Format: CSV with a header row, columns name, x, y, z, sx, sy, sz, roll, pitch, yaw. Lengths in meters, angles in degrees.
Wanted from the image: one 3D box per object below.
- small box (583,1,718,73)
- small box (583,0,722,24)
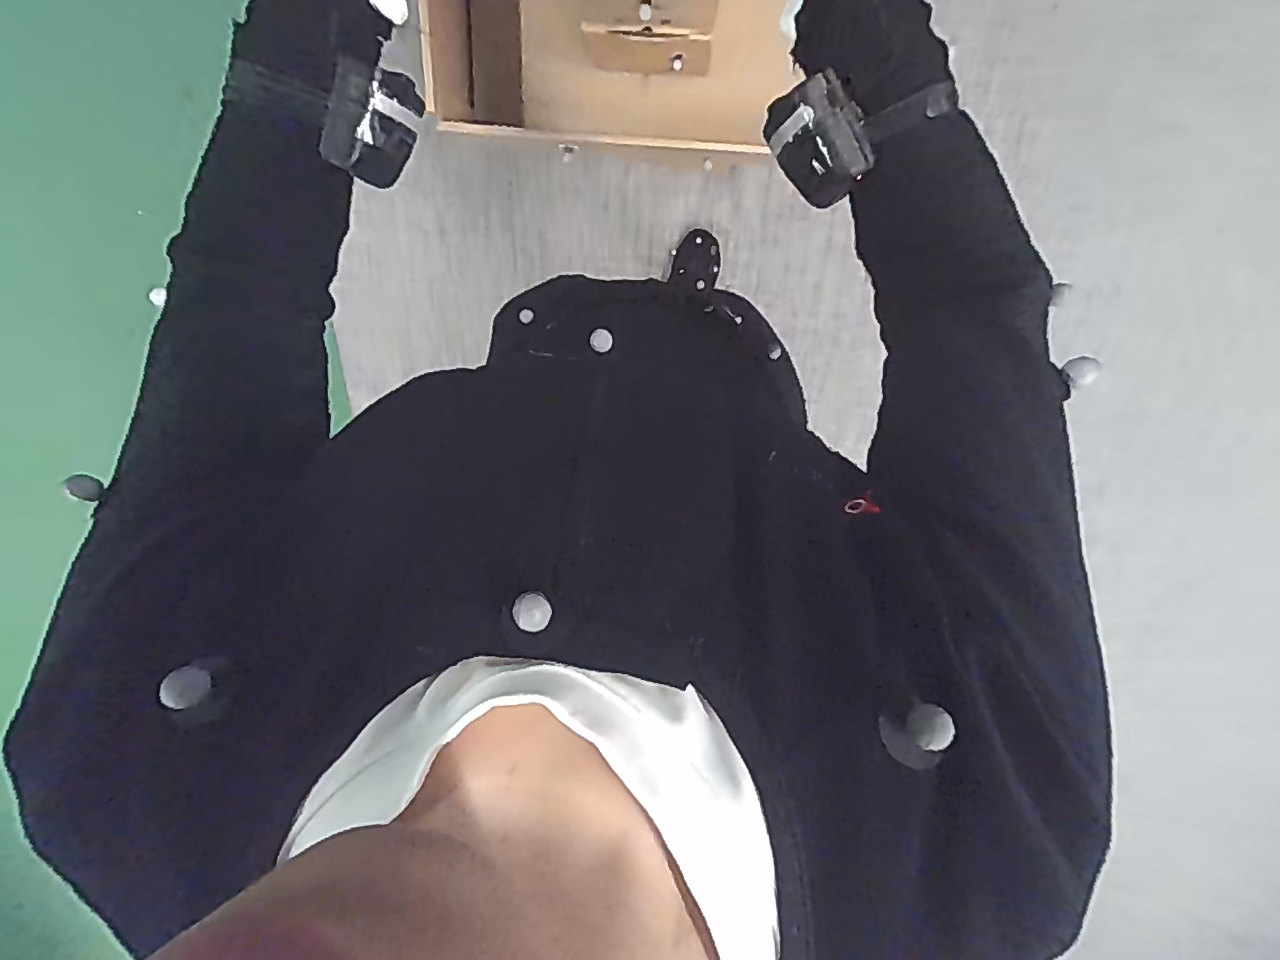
name,x,y,z,sx,sy,sz,roll,pitch,yaw
small box,0.023,-0.651,0.694,0.168,0.176,0.179,5,113,2
small box,0.013,-0.592,0.541,0.168,0.176,0.179,5,115,2
